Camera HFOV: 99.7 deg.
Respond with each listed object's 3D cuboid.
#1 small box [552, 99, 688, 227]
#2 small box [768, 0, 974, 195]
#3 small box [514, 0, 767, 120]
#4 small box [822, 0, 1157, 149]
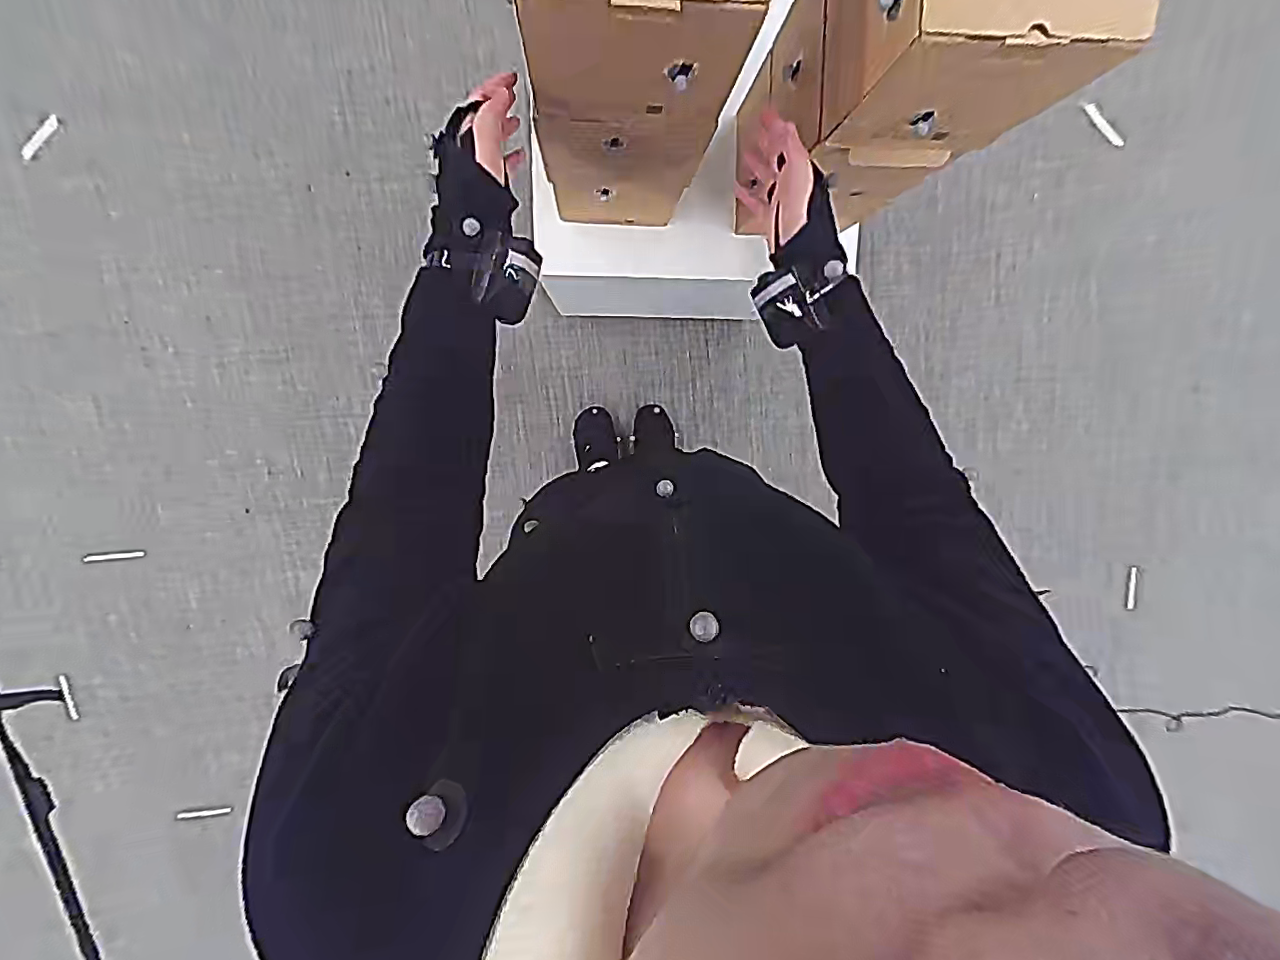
[{"bbox_3d":[-0.030,-0.459,0.722,0.168,0.176,0.179,1,100,-5],"label":"small box"},{"bbox_3d":[0.243,-0.423,0.581,0.168,0.176,0.179,-1,100,-4],"label":"small box"},{"bbox_3d":[-0.003,-0.399,0.400,0.168,0.176,0.179,0,100,-5],"label":"small box"},{"bbox_3d":[0.256,-0.391,0.422,0.168,0.176,0.179,-2,102,-4],"label":"small box"}]
